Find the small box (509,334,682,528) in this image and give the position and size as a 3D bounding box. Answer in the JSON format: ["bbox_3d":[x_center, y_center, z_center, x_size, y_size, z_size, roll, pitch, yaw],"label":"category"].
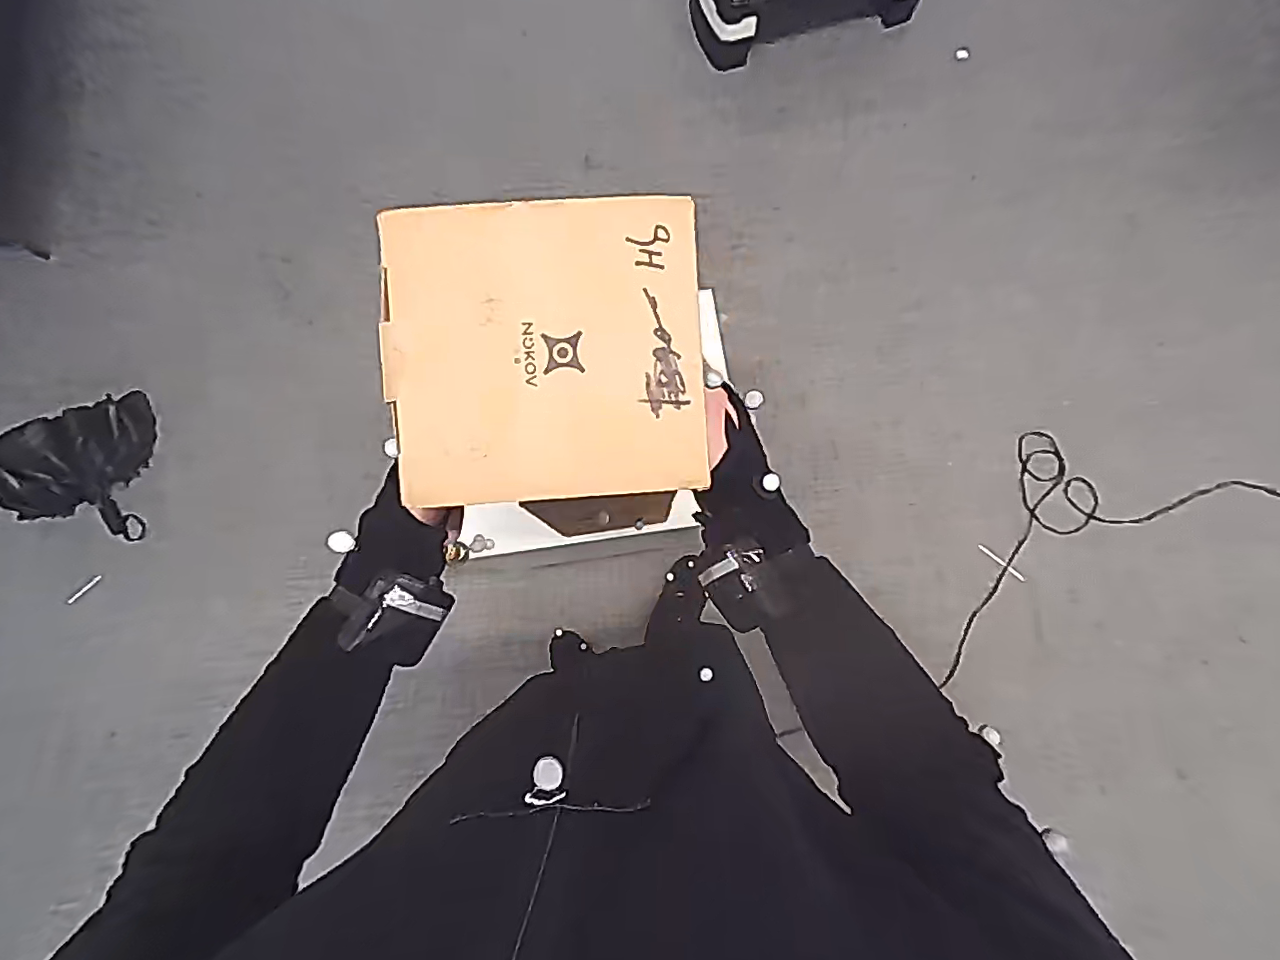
[{"bbox_3d":[-0.050,-0.047,0.631,0.168,0.176,0.179,-7,80,-2],"label":"small box"}]

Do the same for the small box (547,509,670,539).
[{"bbox_3d":[-0.050,-0.012,0.792,0.168,0.176,0.179,-8,77,-2],"label":"small box"}]
